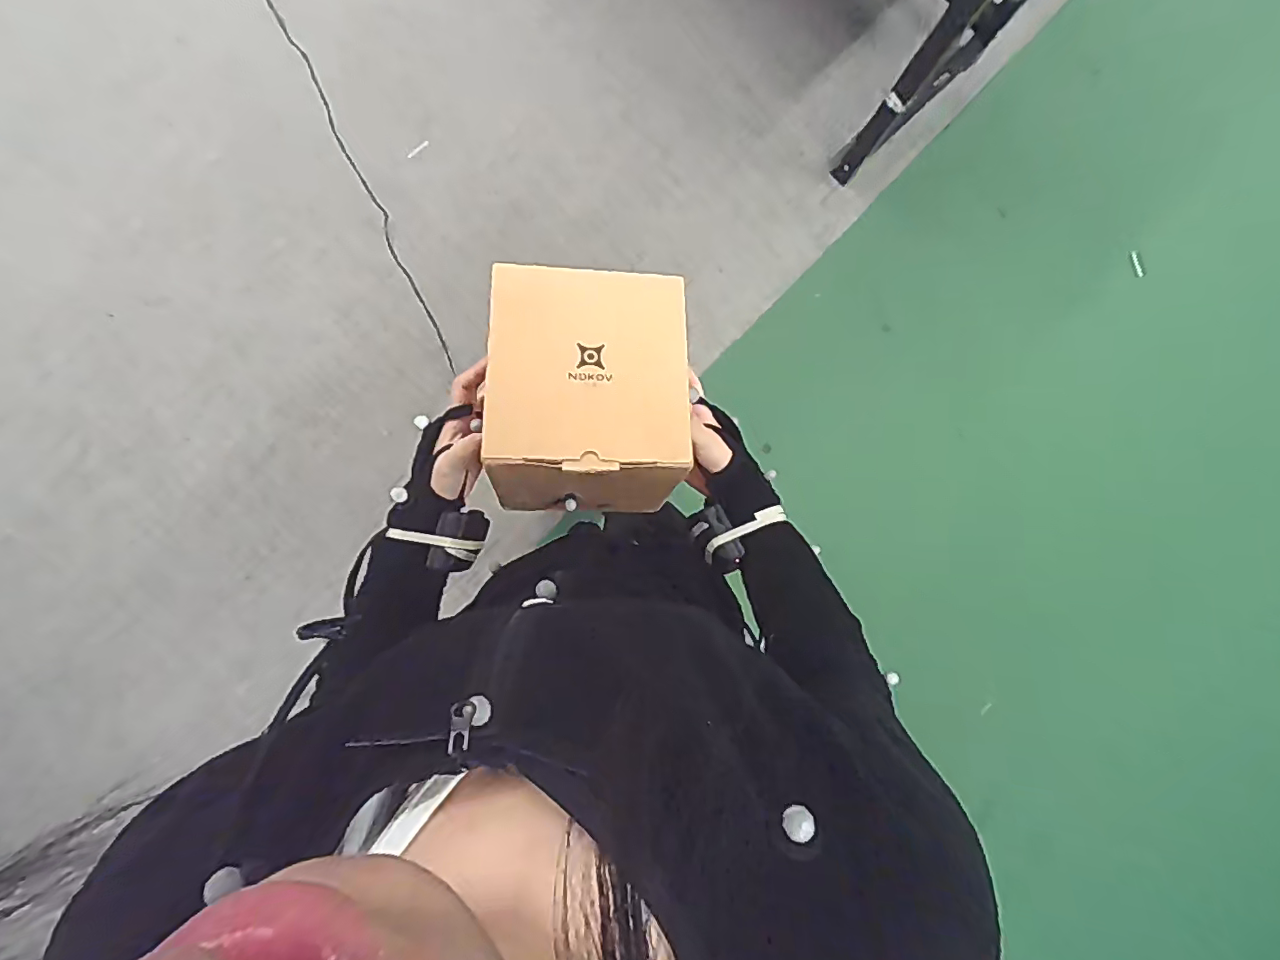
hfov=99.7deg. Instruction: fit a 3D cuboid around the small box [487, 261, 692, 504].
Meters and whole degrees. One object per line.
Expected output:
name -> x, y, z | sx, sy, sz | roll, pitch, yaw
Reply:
small box -> -0.054, -0.080, 0.523 | 0.168, 0.176, 0.179 | 0, 75, -9
